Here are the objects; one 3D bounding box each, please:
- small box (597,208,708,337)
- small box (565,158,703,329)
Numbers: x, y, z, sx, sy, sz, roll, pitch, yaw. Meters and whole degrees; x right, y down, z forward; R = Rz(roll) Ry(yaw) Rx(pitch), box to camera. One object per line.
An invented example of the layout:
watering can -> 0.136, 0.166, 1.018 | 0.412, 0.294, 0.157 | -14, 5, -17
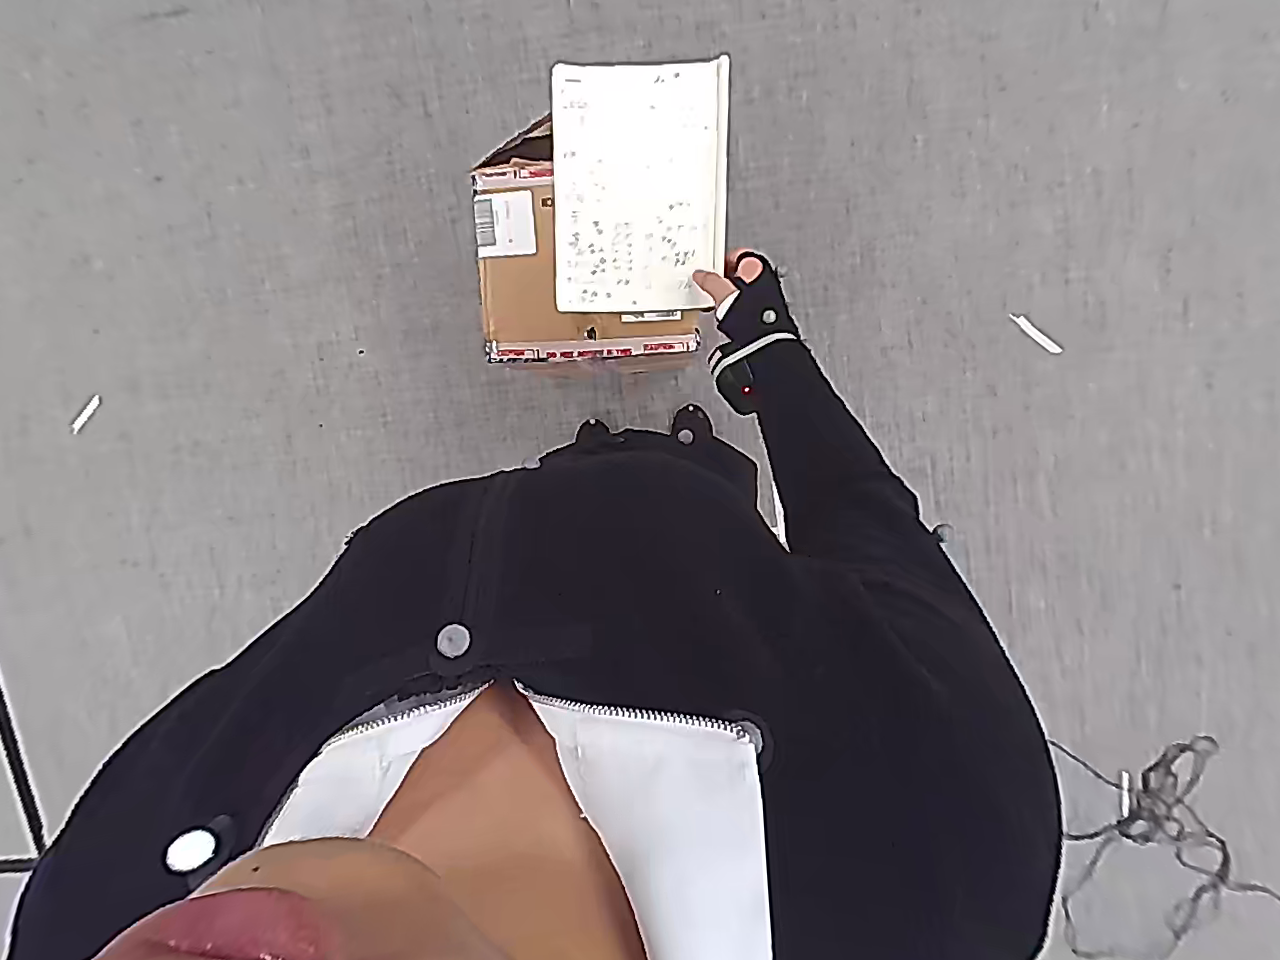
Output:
small box -> 0.012, -0.331, 0.887 | 0.179, 0.176, 0.168 | -4, 98, 2
small box -> -0.009, -0.304, 0.725 | 0.168, 0.176, 0.179 | 0, 99, 0
